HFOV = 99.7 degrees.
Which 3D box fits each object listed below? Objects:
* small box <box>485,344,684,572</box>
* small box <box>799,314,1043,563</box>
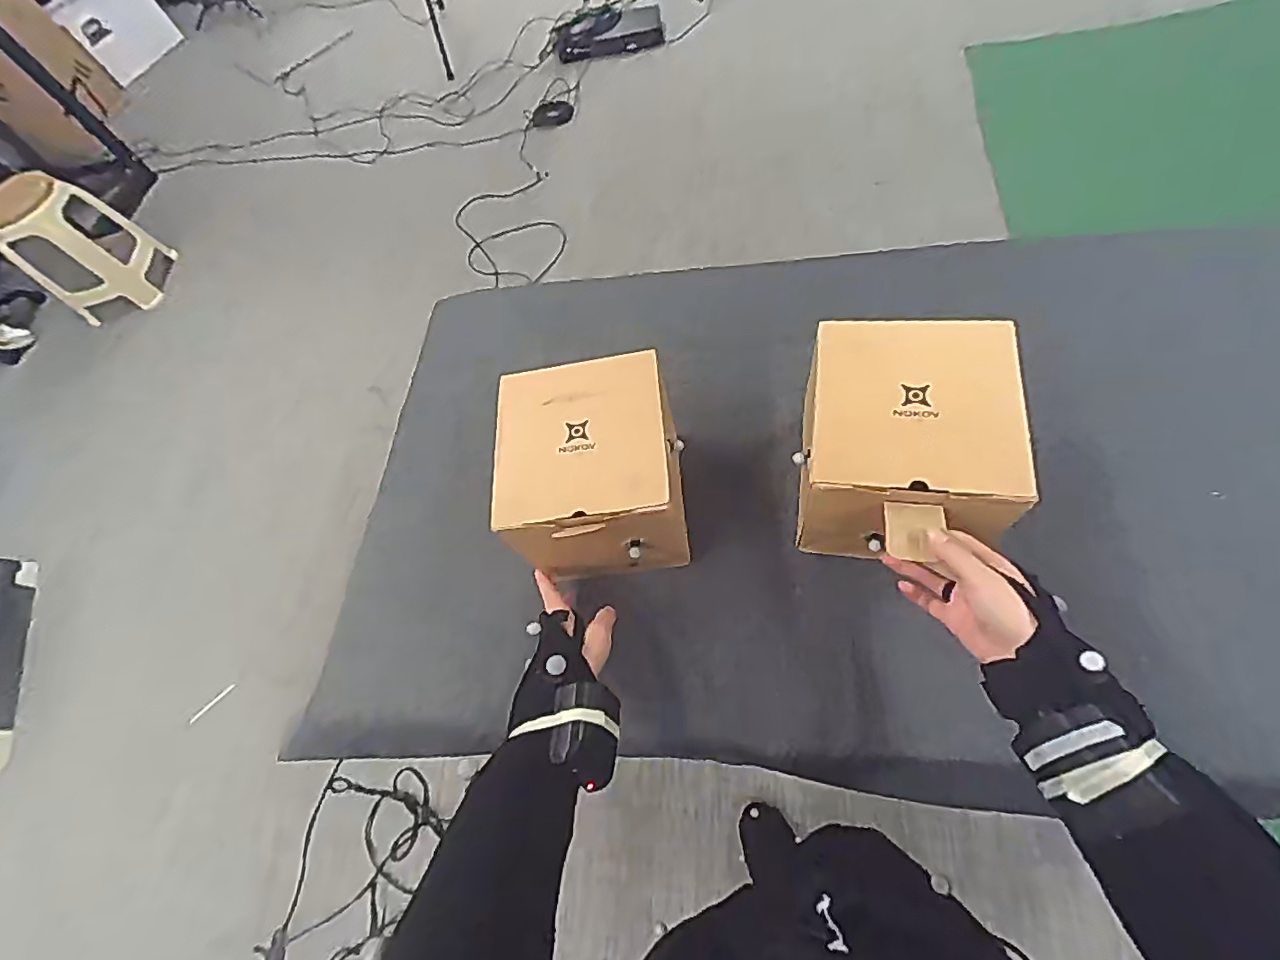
[{"bbox_3d":[-0.048,-0.011,0.571,0.168,0.176,0.179,-8,61,7],"label":"small box"},{"bbox_3d":[0.247,-0.036,0.522,0.168,0.176,0.179,4,65,14],"label":"small box"}]
